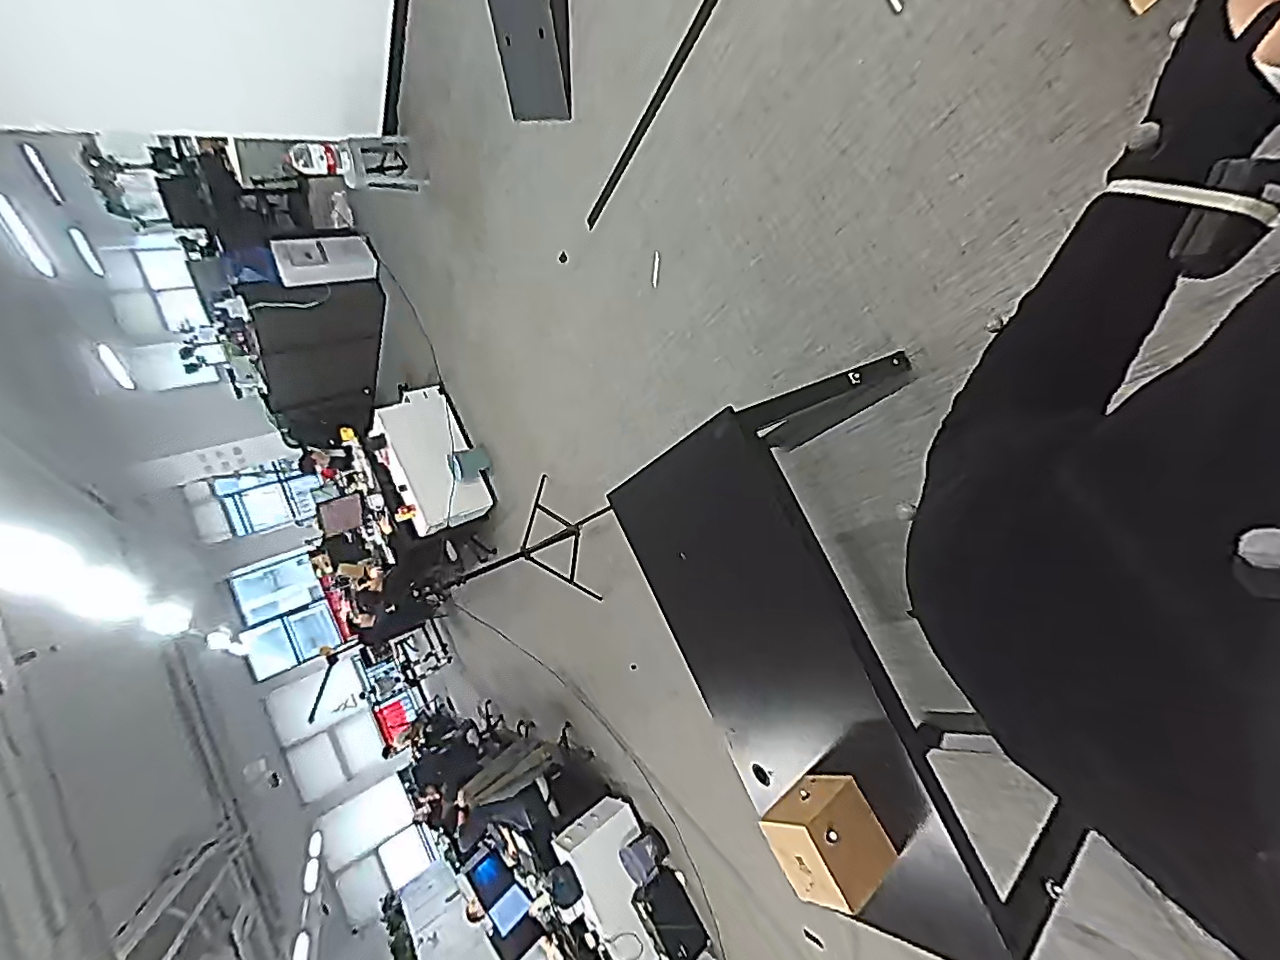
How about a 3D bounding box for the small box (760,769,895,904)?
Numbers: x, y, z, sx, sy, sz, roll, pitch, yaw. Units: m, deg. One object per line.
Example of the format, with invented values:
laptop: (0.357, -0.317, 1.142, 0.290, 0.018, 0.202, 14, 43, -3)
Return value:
small box: (0.401, 0.750, 1.163, 0.179, 0.176, 0.168, 60, 146, 12)
